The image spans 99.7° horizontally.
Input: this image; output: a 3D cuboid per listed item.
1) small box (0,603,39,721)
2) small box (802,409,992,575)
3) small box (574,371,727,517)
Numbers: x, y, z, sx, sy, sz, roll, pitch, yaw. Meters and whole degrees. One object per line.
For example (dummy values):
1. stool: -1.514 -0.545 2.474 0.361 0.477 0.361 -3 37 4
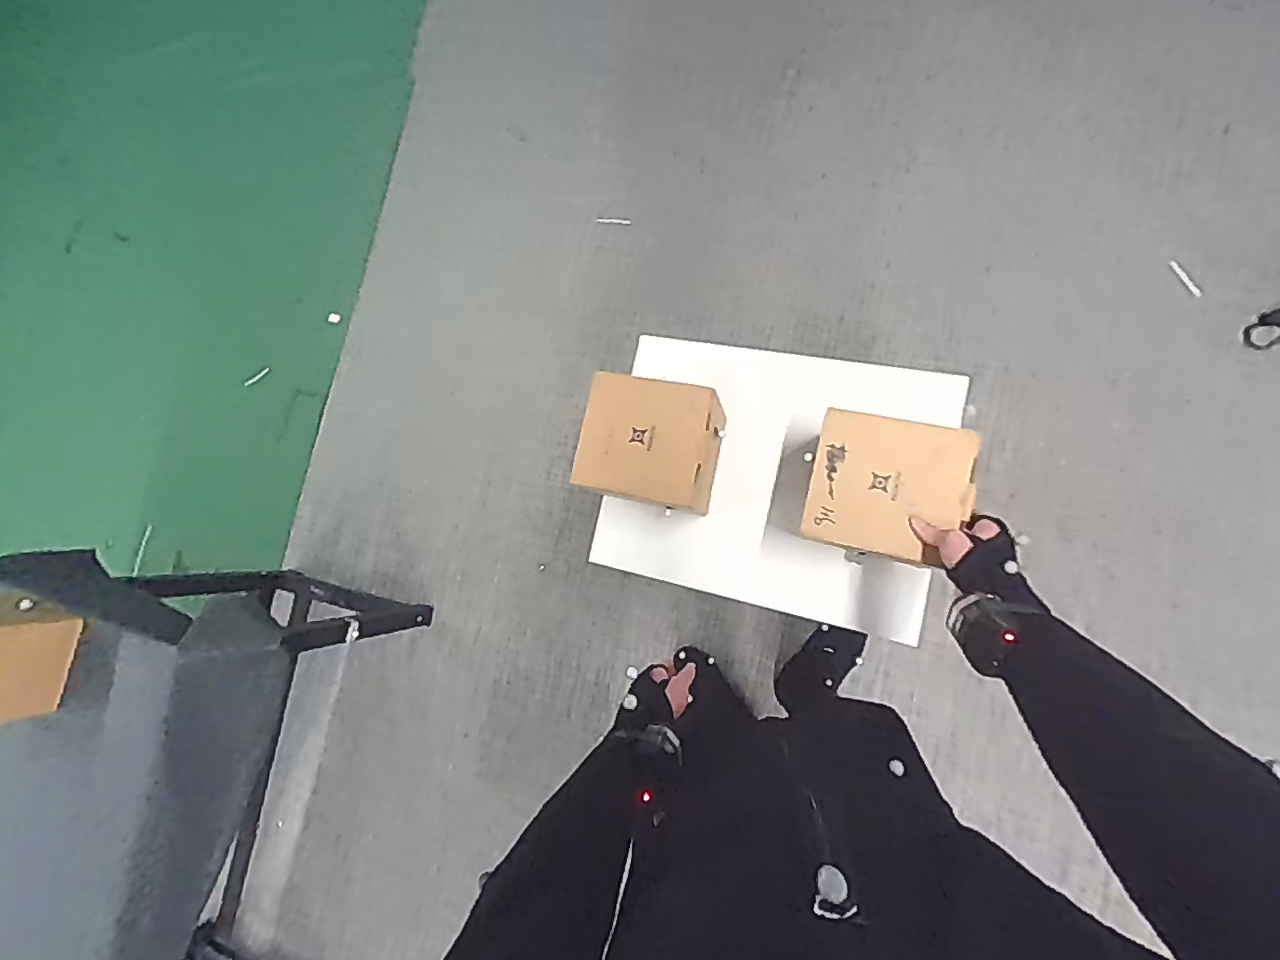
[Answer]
1. small box: -1.147 0.303 0.872 0.168 0.176 0.179 14 84 14
2. small box: 0.323 0.020 0.714 0.179 0.176 0.168 13 84 15
3. small box: 0.027 -0.044 0.794 0.179 0.176 0.168 11 82 14
